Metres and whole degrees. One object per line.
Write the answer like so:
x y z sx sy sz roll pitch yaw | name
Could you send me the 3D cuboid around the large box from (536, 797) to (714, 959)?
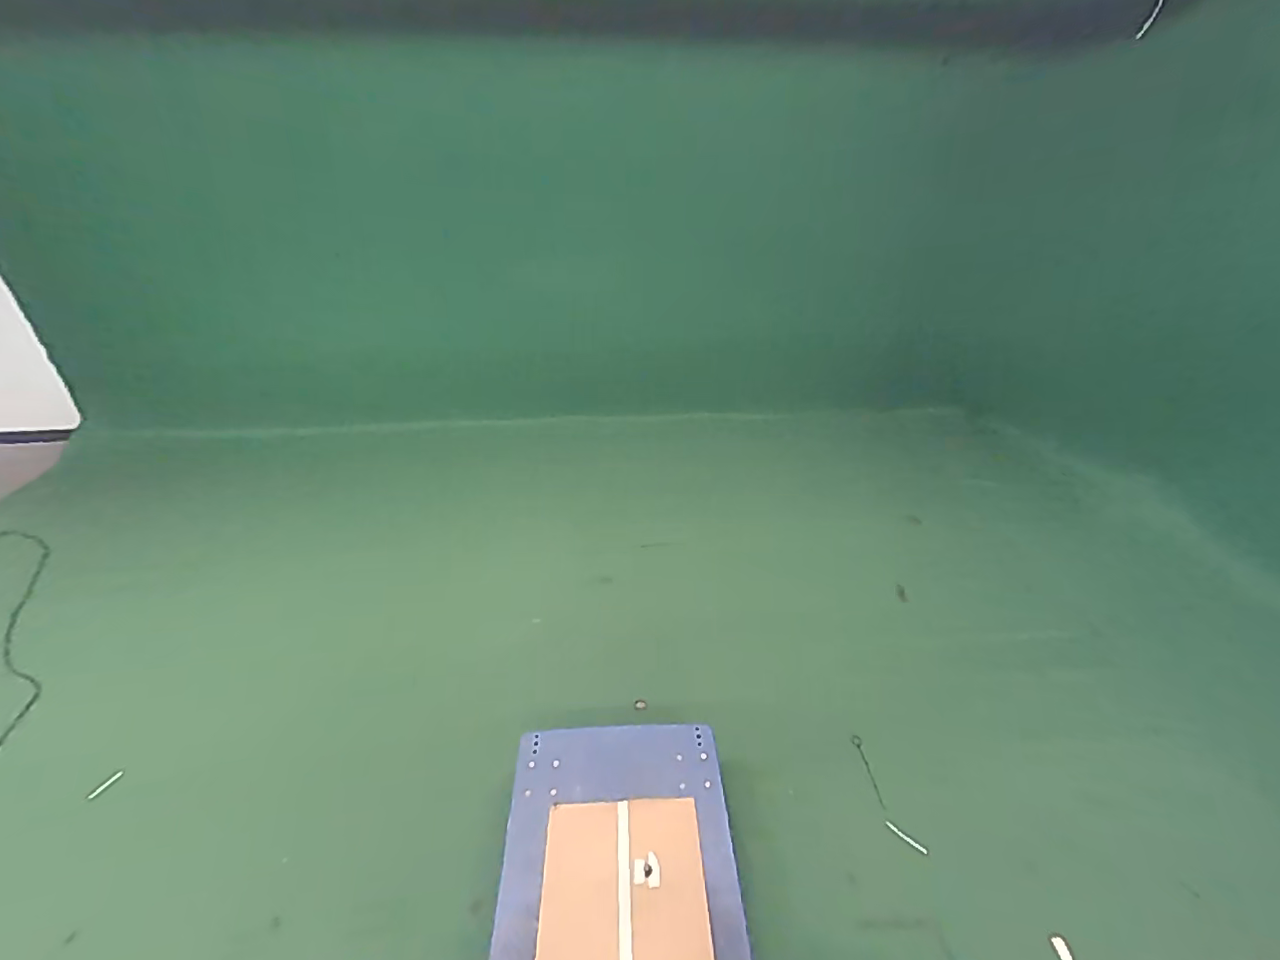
-0.027 0.928 1.081 0.320 0.320 0.408 -1 32 -2 | large box
